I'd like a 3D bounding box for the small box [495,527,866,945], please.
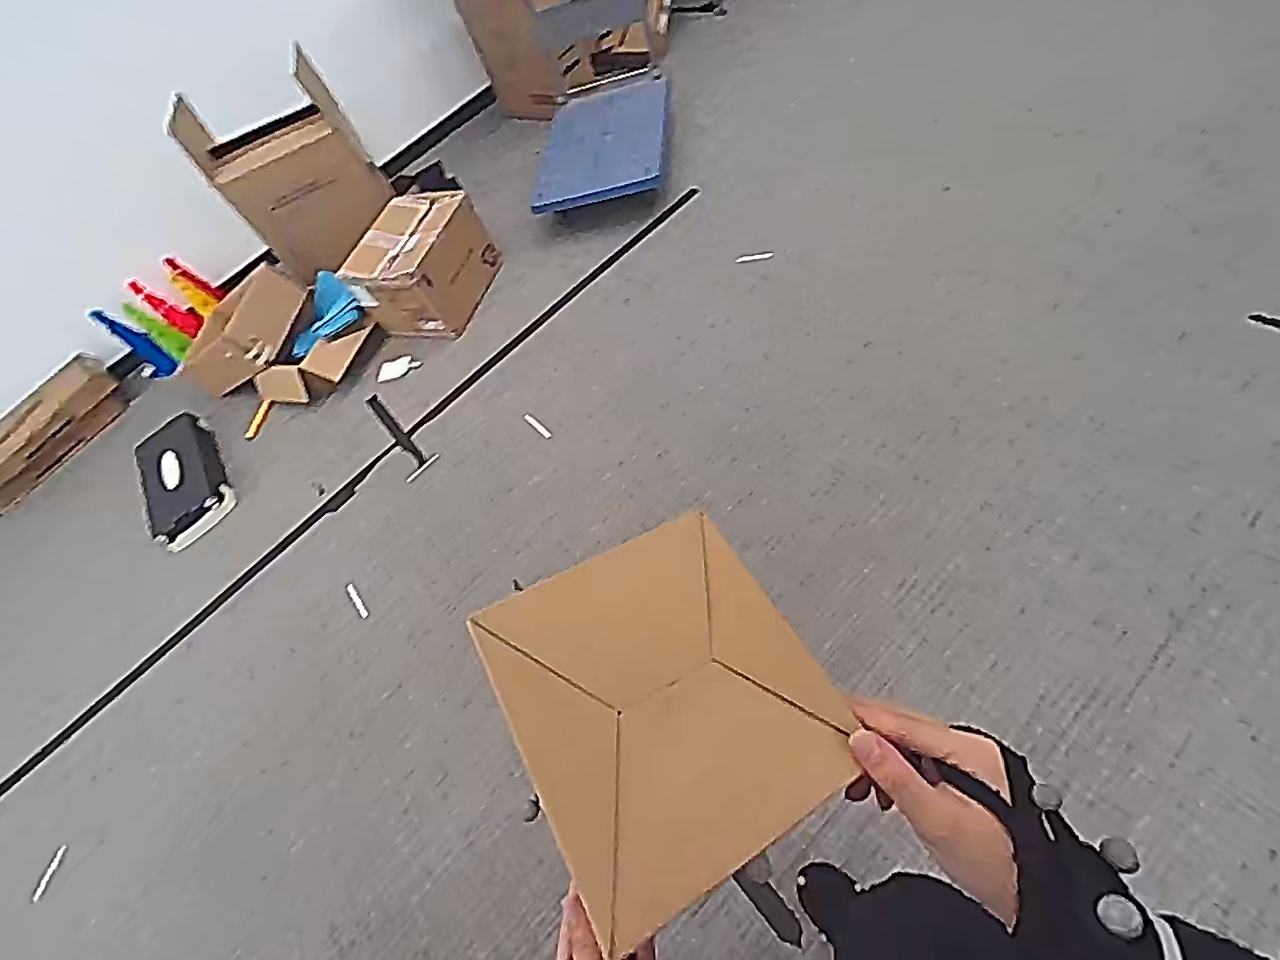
[{"bbox_3d":[0.012,0.160,0.364,0.168,0.176,0.179,-22,60,-21],"label":"small box"}]
